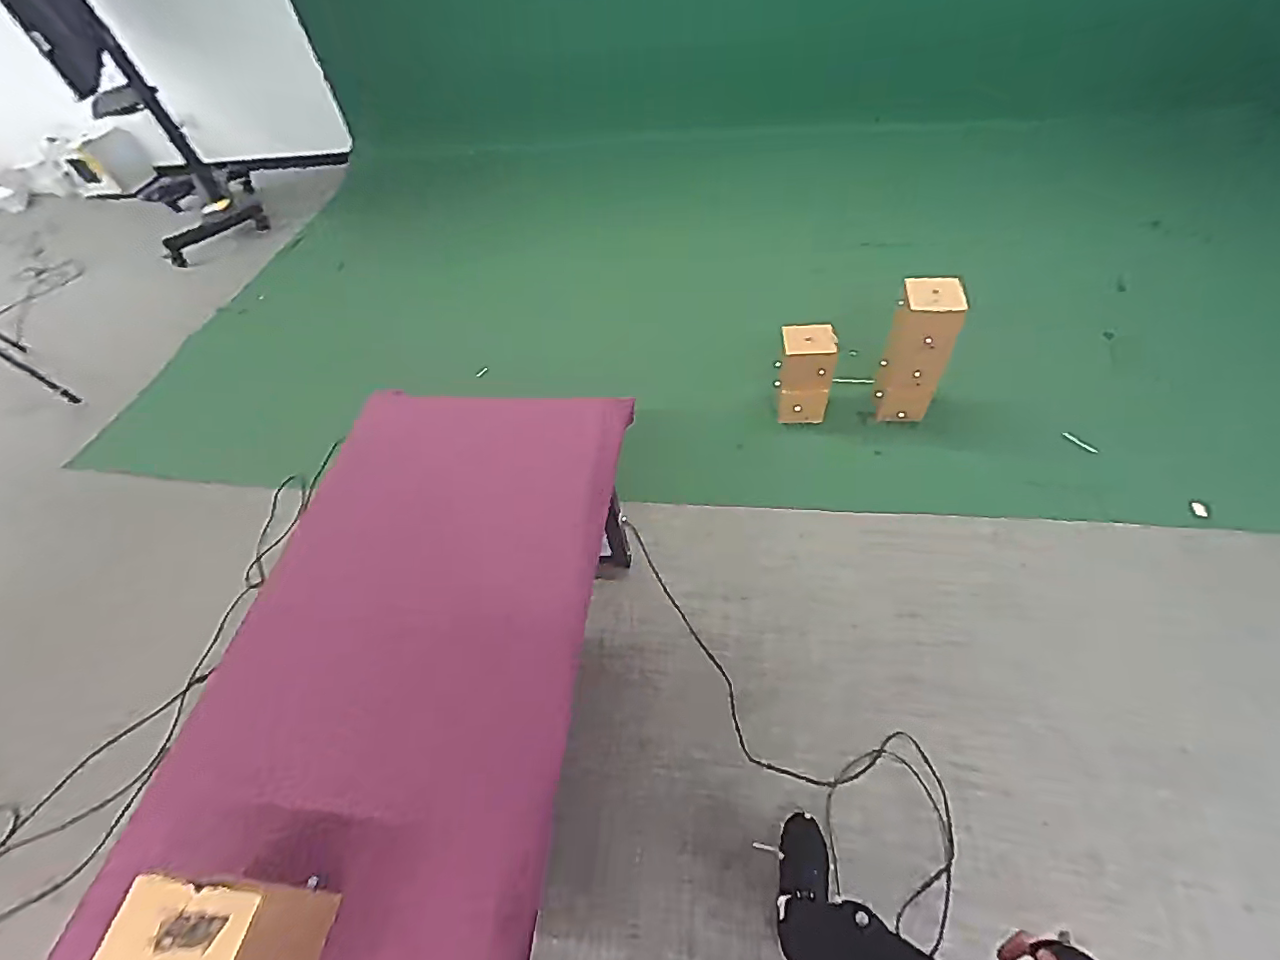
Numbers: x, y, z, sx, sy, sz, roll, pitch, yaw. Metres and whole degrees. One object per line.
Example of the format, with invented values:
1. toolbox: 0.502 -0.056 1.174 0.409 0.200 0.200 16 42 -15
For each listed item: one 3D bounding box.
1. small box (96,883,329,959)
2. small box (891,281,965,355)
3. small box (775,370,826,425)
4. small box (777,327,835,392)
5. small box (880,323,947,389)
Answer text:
1. small box: -0.498 0.583 0.620 0.168 0.176 0.179 2 54 9
2. small box: 0.949 -0.541 1.800 0.168 0.176 0.179 3 54 11
3. small box: 0.620 -0.328 2.100 0.168 0.176 0.179 0 52 8
4. small box: 0.604 -0.439 1.982 0.179 0.176 0.168 0 51 8
5. small box: 0.969 -0.440 1.929 0.168 0.176 0.179 3 54 9
